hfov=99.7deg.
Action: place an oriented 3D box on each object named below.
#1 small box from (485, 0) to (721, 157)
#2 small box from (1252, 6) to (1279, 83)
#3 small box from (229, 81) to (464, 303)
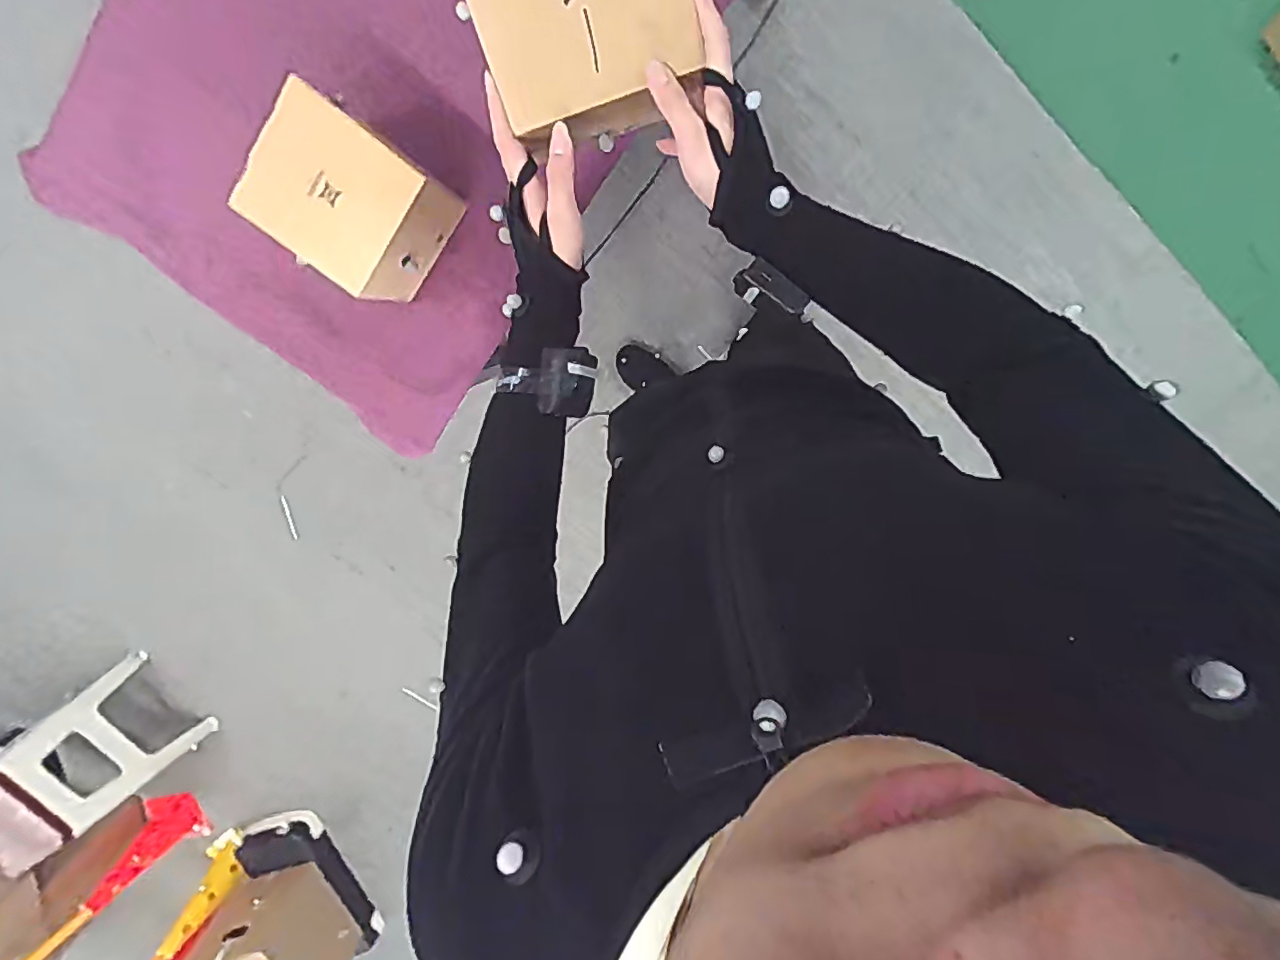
[{"bbox_3d":[-0.043,-0.408,0.465,0.168,0.176,0.179,-17,114,3],"label":"small box"},{"bbox_3d":[1.607,-1.076,1.245,0.168,0.176,0.179,40,102,-11],"label":"small box"},{"bbox_3d":[-0.358,-0.348,0.696,0.179,0.176,0.168,36,103,-9],"label":"small box"}]
